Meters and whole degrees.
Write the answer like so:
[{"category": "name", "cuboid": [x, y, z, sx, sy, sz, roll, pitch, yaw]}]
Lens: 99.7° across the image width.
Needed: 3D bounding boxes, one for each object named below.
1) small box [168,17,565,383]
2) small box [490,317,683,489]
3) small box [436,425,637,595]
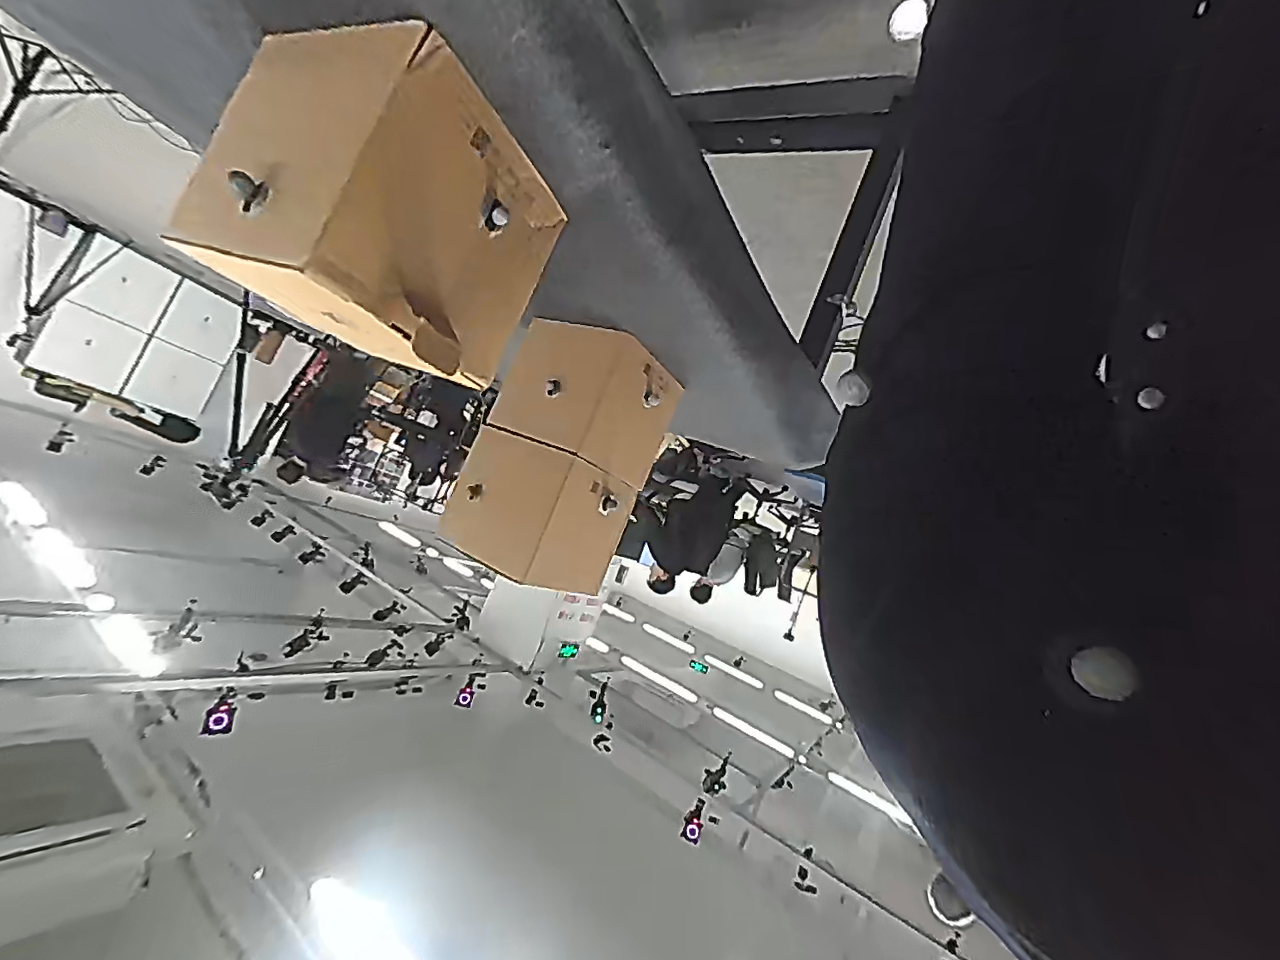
[{"category": "small box", "cuboid": [-0.189, -0.200, 0.409, 0.179, 0.176, 0.168, 20, 173, 26]}, {"category": "small box", "cuboid": [-0.068, -0.109, 0.757, 0.179, 0.176, 0.168, 18, 173, 33]}, {"category": "small box", "cuboid": [-0.133, 0.038, 0.737, 0.179, 0.176, 0.168, 18, 174, 33]}]
